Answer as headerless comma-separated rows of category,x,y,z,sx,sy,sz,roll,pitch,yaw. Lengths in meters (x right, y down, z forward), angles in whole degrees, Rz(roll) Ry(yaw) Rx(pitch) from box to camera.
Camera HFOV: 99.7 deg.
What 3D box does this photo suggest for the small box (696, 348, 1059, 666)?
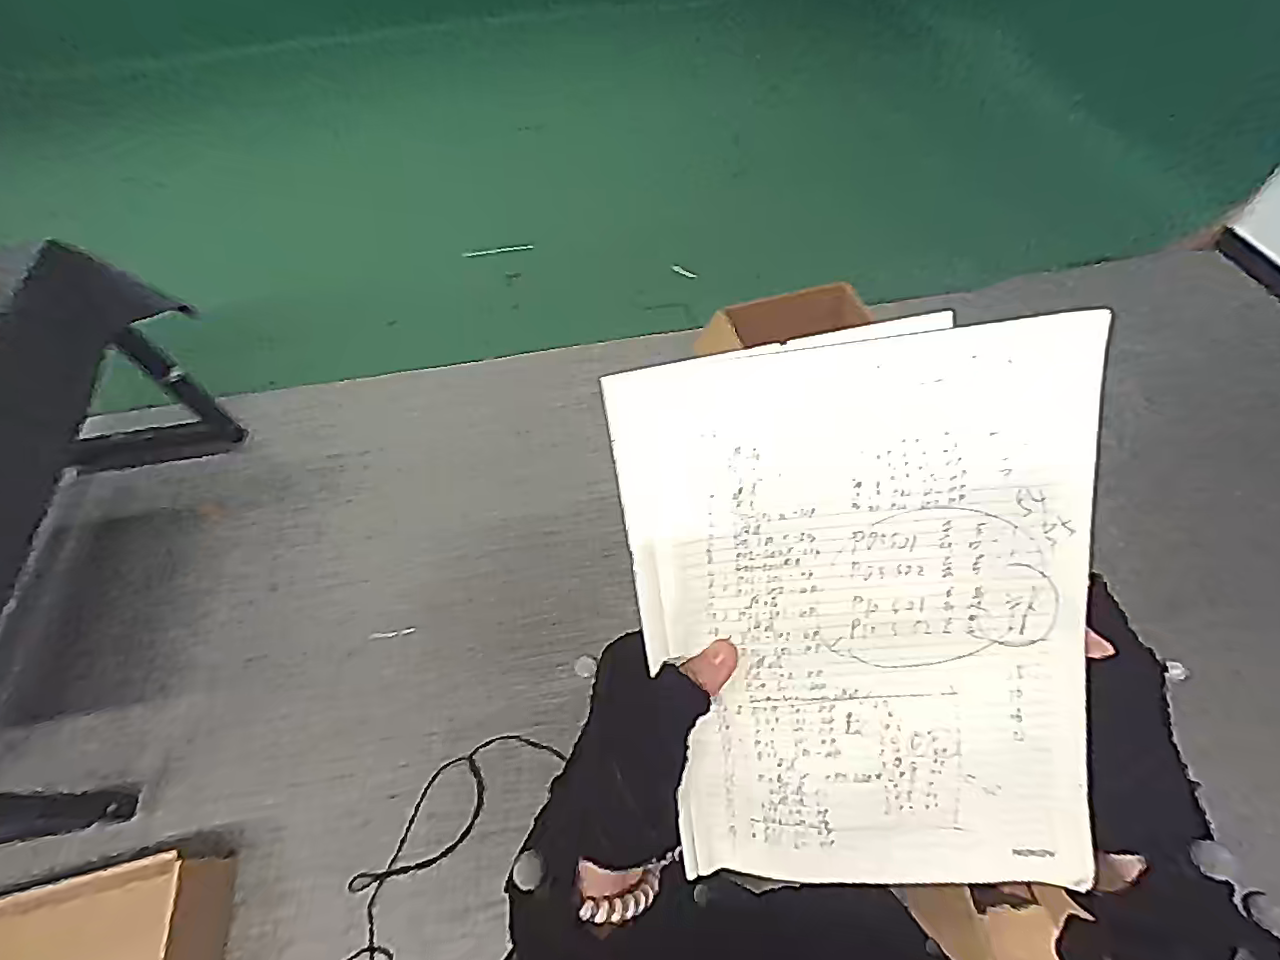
small box,0.127,0.020,0.361,0.179,0.176,0.168,0,84,3
